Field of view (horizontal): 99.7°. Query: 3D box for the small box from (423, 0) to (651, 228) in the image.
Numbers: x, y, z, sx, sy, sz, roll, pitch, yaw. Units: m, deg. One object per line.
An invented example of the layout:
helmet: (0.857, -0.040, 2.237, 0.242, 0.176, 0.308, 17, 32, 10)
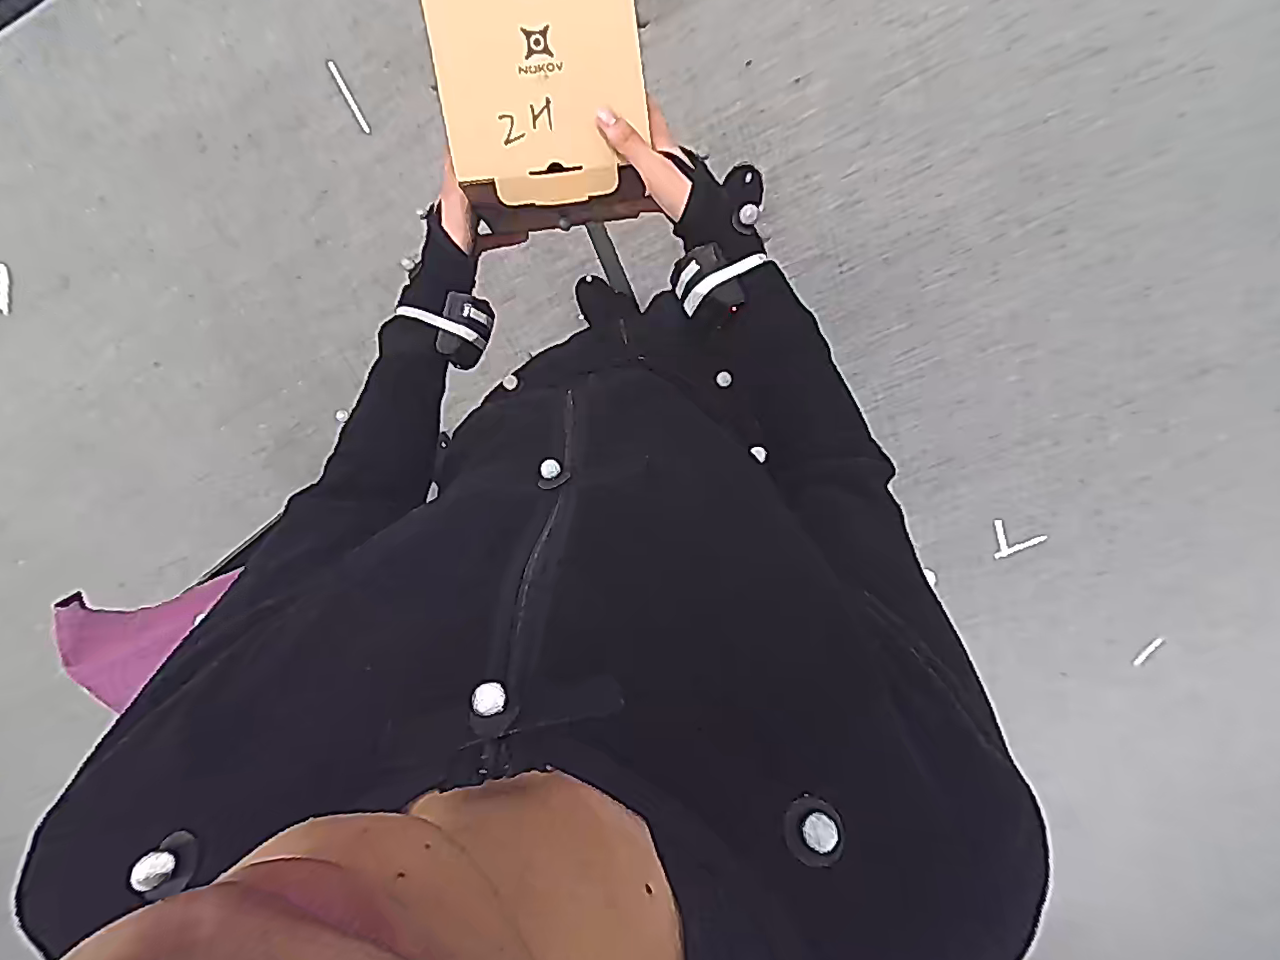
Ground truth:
small box: (-0.088, -0.355, 0.500, 0.168, 0.176, 0.179, -9, 102, -3)
